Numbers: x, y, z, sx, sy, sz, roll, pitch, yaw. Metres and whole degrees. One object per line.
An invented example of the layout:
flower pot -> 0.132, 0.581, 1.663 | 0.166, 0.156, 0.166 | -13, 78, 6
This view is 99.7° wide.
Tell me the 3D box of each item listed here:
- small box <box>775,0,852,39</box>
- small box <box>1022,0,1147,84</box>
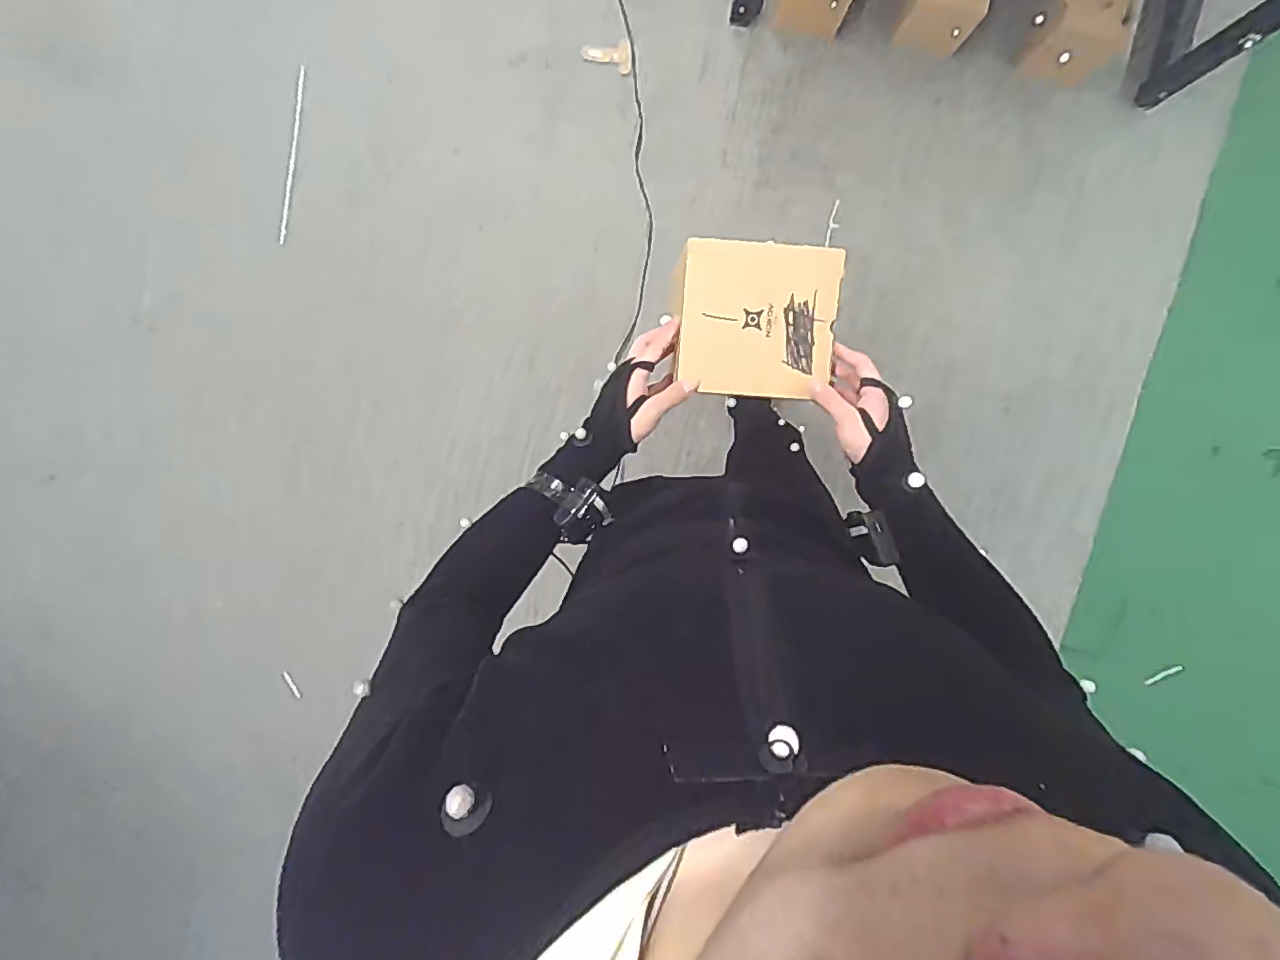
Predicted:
small box -> 0.456, -1.273, 1.373 | 0.179, 0.176, 0.168 | 11, 96, 0
small box -> 1.122, -1.152, 1.370 | 0.179, 0.176, 0.168 | 14, 96, 0
